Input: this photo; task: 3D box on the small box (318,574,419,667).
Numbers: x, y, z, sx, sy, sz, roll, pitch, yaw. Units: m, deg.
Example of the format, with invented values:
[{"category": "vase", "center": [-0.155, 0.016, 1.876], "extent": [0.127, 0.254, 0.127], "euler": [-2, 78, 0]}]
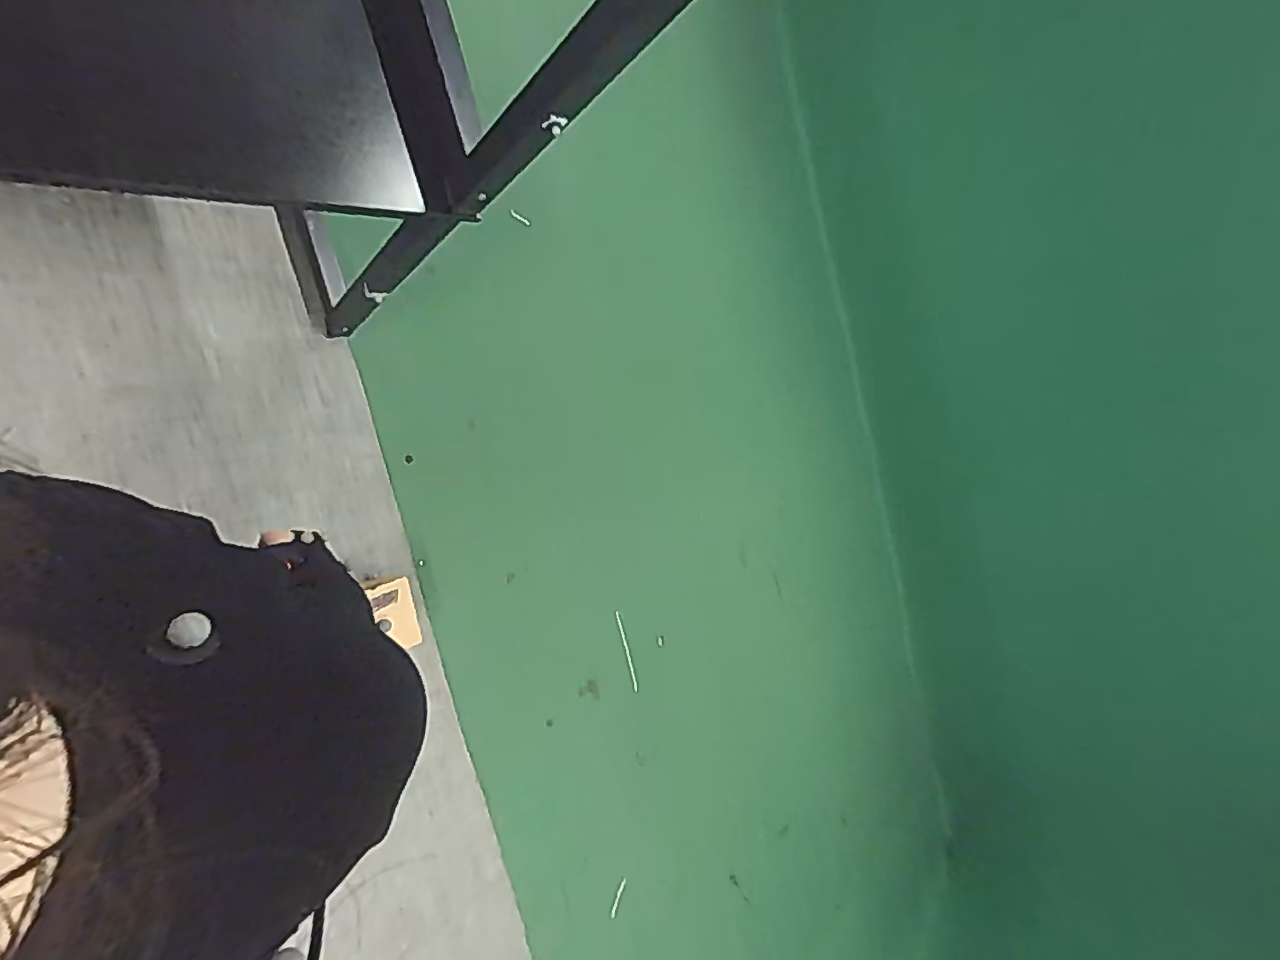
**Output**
[{"category": "small box", "center": [-0.681, 0.341, 1.349], "extent": [0.168, 0.176, 0.179], "euler": [-14, 95, -43]}]
